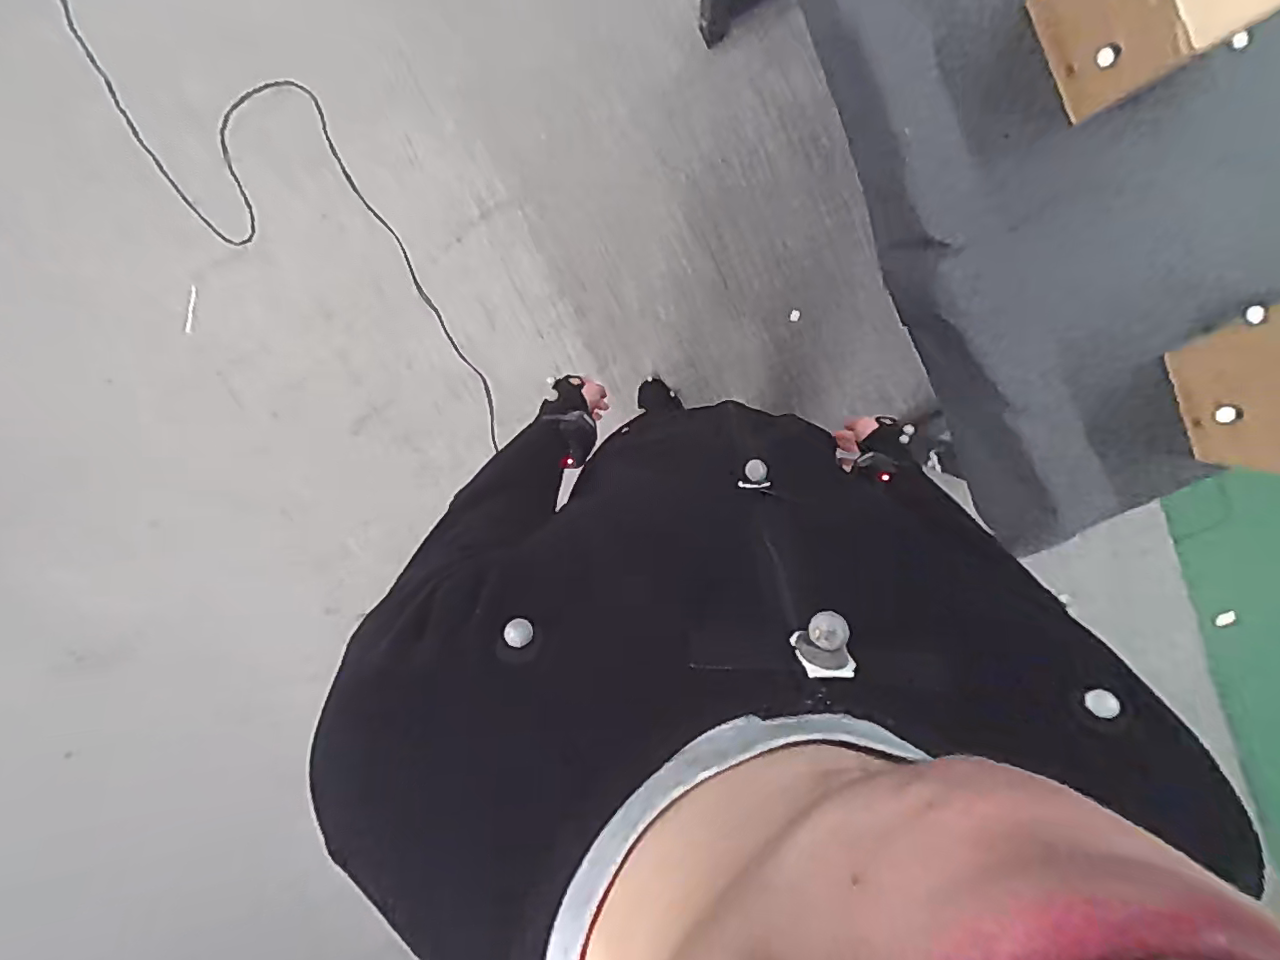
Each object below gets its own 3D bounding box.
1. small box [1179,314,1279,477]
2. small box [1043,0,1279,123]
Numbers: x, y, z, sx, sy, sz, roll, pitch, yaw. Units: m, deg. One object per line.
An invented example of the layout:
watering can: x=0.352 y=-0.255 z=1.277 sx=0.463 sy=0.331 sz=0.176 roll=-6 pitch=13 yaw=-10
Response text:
small box: x=0.807 y=-0.107 z=0.644 sx=0.179 sy=0.176 sz=0.168 roll=-24 pitch=98 yaw=8
small box: x=0.580 y=-0.532 z=0.579 sx=0.179 sy=0.176 sz=0.168 roll=-28 pitch=99 yaw=7
